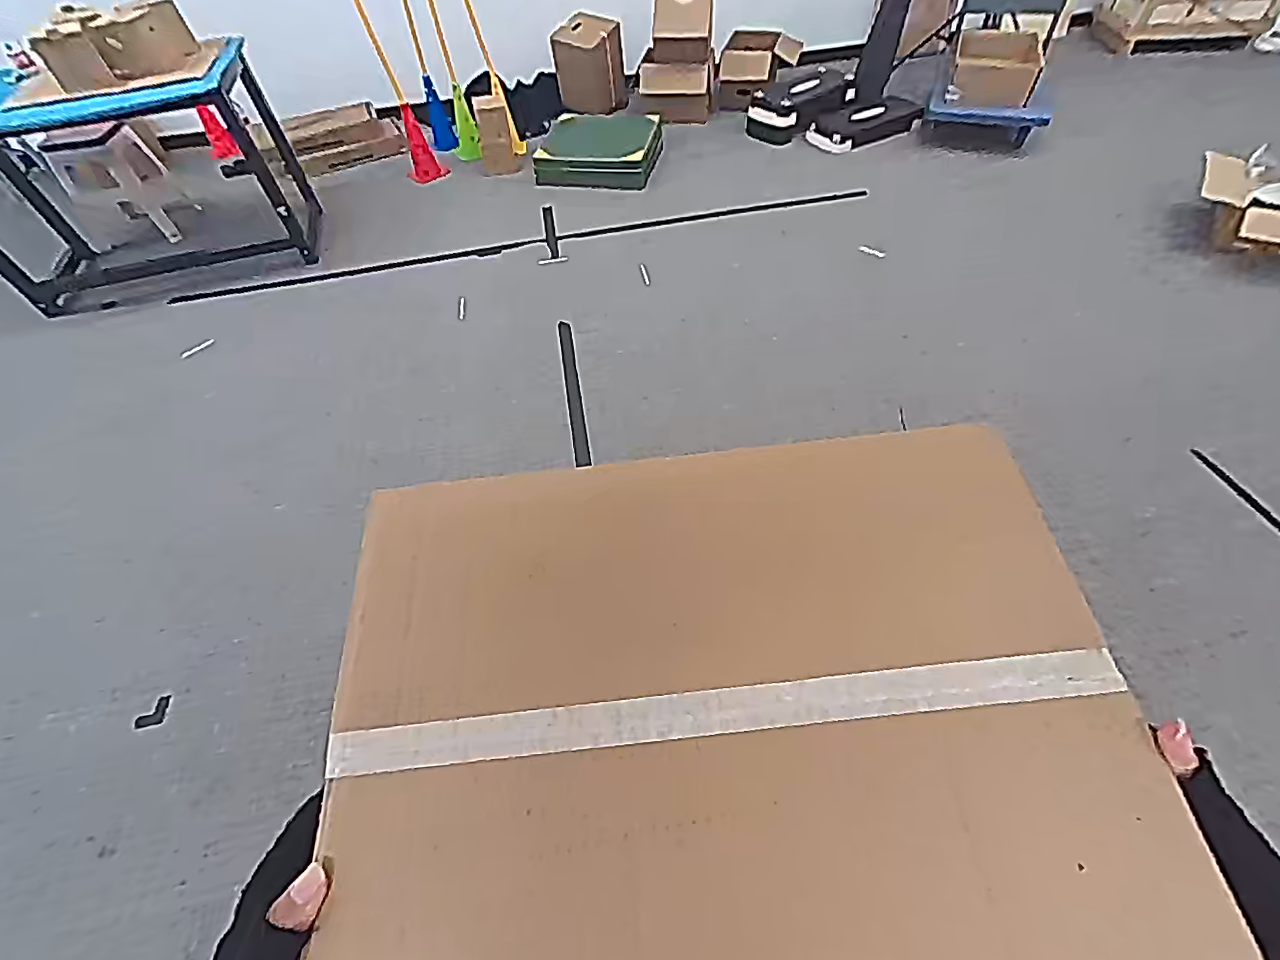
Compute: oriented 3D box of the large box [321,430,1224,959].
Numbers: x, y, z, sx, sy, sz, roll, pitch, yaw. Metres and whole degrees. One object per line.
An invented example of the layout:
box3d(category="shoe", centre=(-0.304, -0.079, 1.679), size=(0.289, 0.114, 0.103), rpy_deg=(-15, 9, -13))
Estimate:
box3d(category="large box", centre=(0.048, 0.195, 0.422), size=(0.408, 0.320, 0.320), rpy_deg=(-7, 62, 1))
